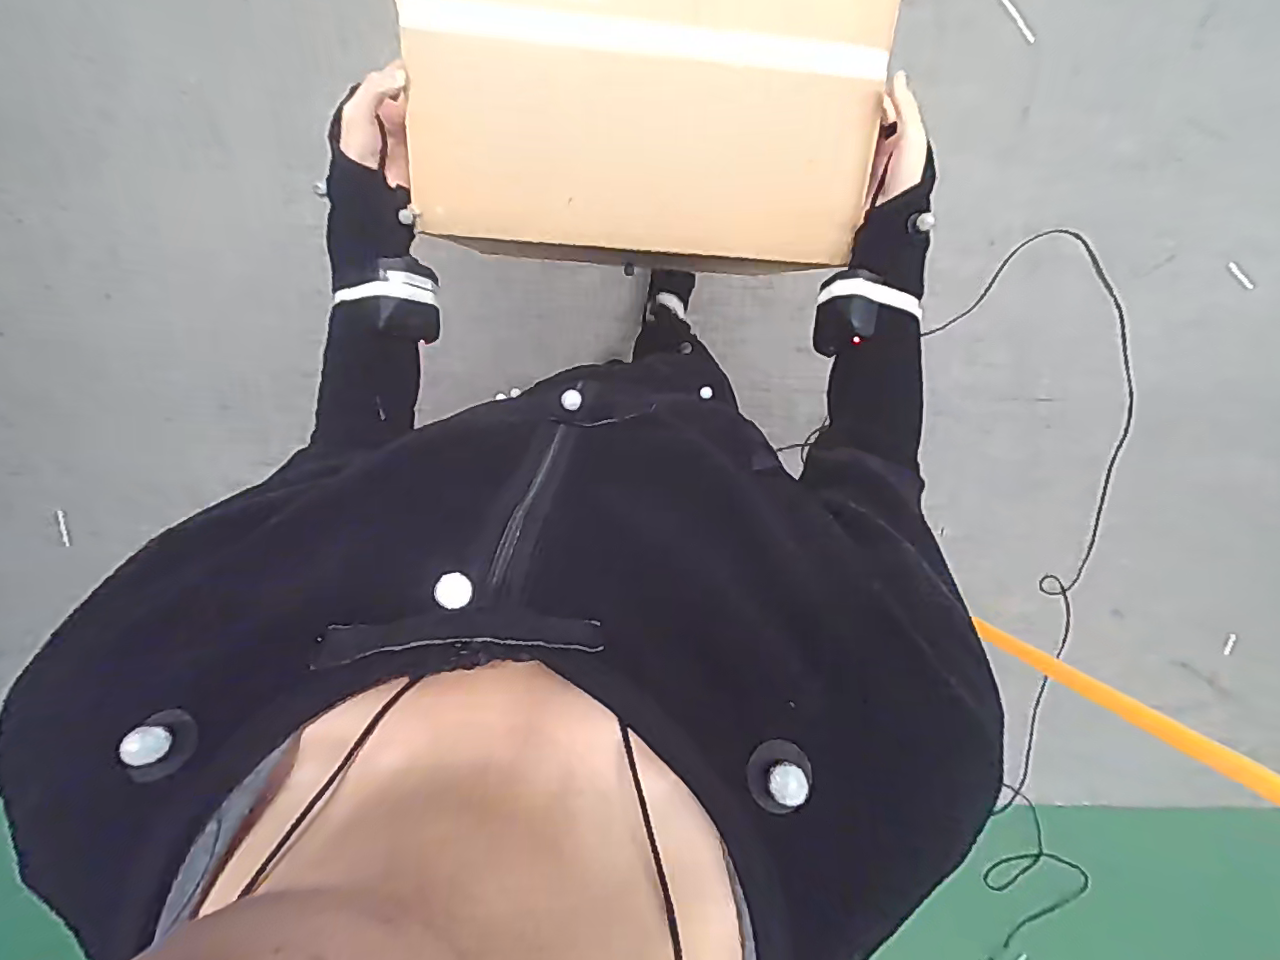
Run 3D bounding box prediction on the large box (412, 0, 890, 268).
[{"bbox_3d":[0.002,-0.412,0.599,0.408,0.320,0.320,2,108,-5],"label":"large box"}]
